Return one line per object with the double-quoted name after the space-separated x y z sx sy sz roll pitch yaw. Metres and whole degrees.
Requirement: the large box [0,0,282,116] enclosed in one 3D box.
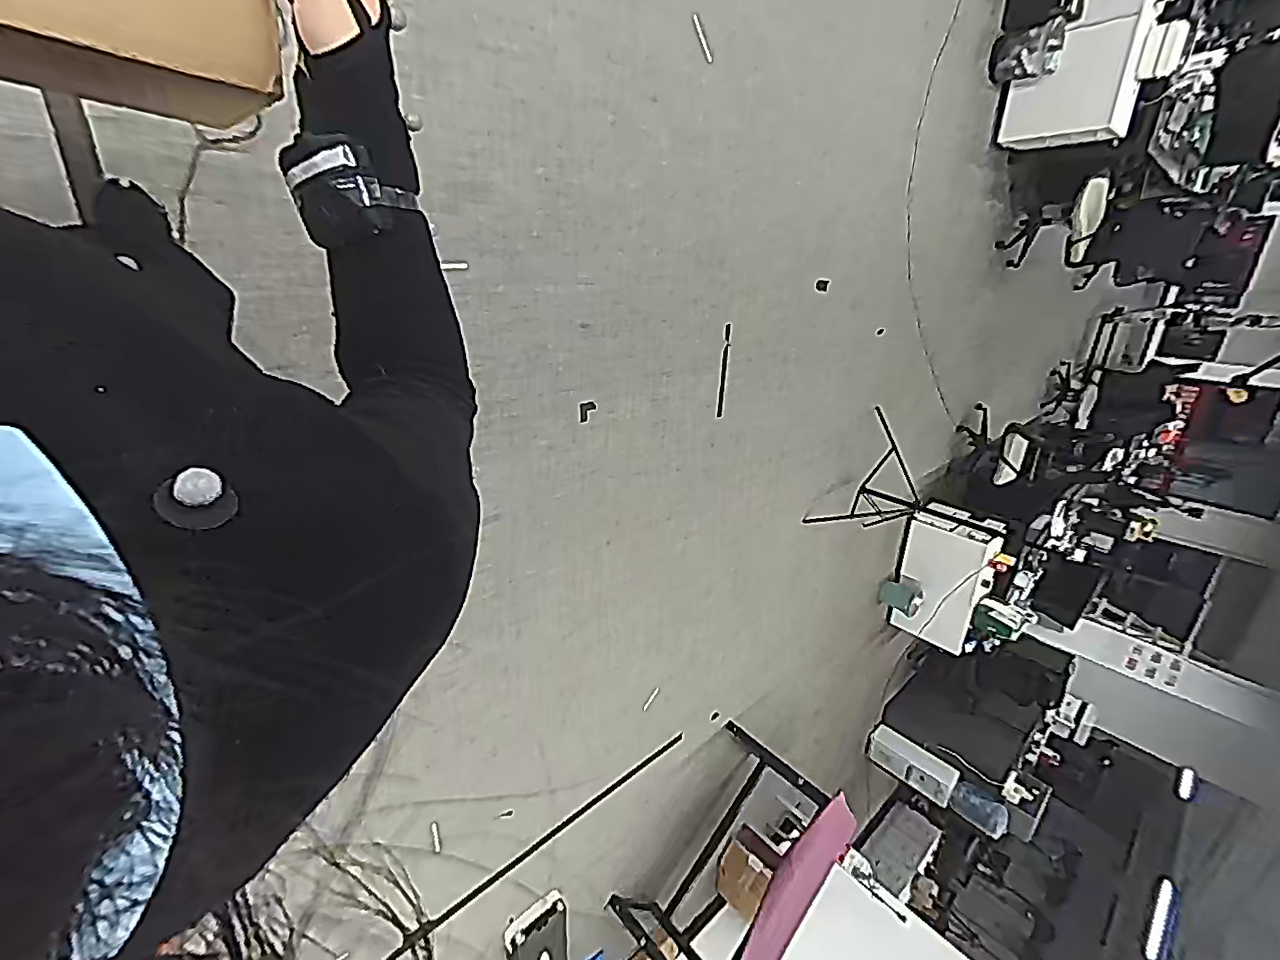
-0.481 -0.445 0.309 0.408 0.320 0.320 -11 117 -39 "large box"
